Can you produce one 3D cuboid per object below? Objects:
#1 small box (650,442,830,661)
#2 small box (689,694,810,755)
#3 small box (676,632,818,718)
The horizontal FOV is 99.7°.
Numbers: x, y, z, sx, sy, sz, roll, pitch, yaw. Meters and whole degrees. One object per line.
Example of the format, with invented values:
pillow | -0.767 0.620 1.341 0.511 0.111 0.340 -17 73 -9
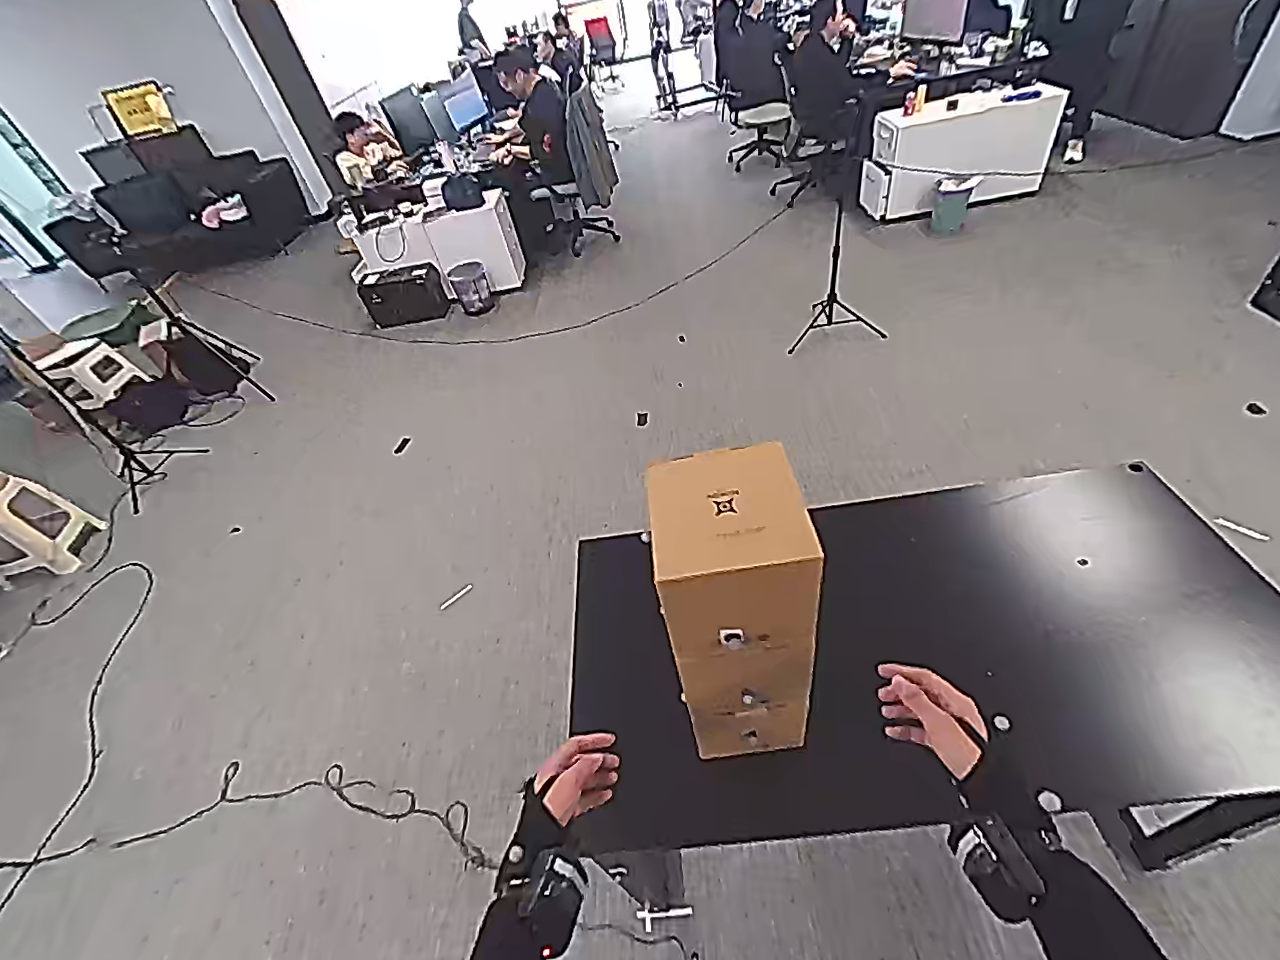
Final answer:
small box | 0.109 0.084 0.629 0.168 0.176 0.179 -10 44 5
small box | 0.162 0.317 0.854 0.168 0.176 0.179 -10 44 4
small box | 0.135 0.198 0.741 0.168 0.176 0.179 -10 43 5
